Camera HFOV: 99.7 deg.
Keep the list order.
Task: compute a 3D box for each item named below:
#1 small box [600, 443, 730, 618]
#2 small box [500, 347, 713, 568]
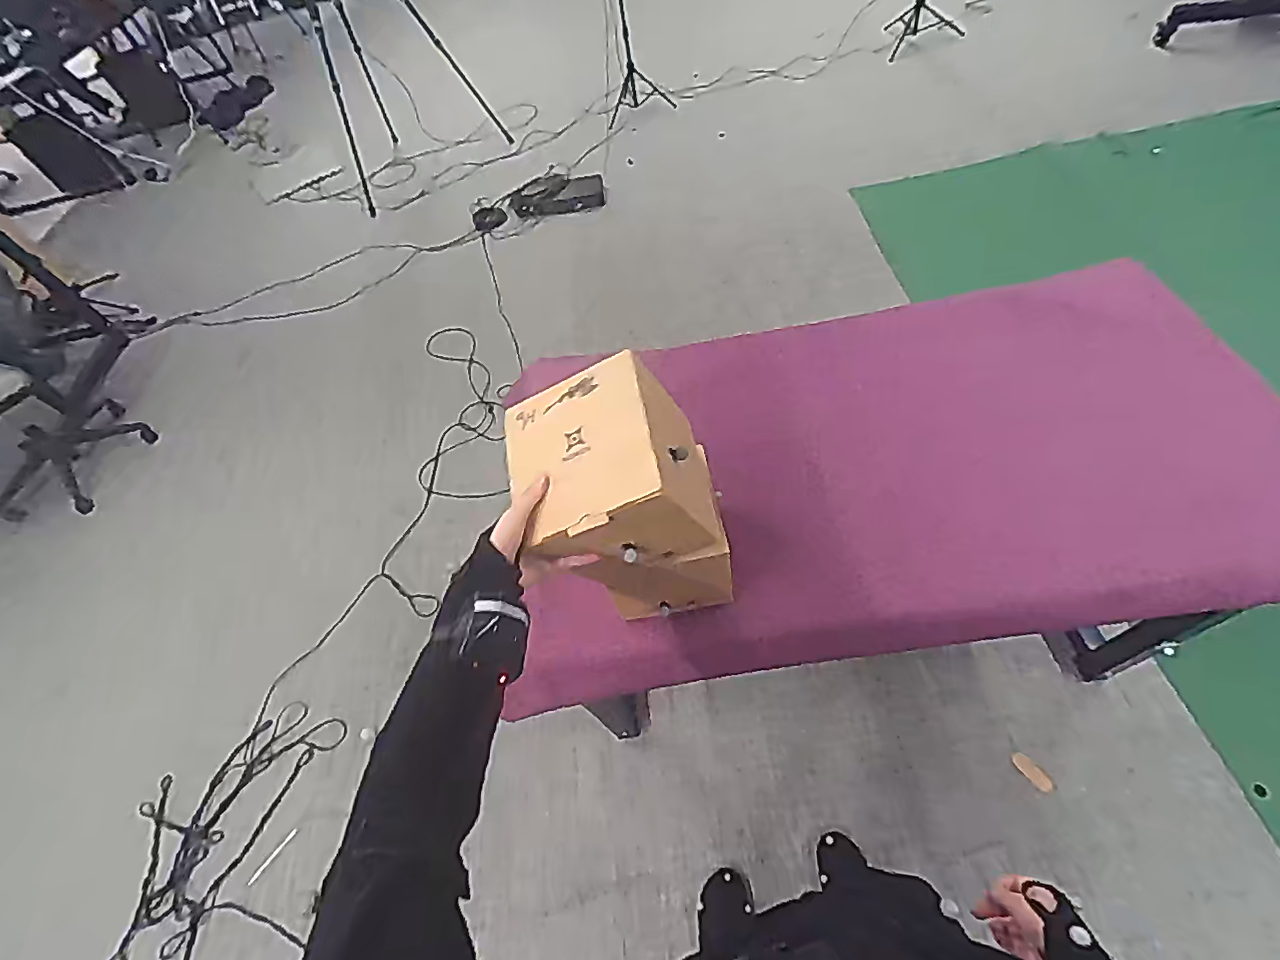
[{"bbox_3d":[0.032,0.077,0.778,0.168,0.176,0.179,-11,55,4],"label":"small box"},{"bbox_3d":[-0.034,-0.009,0.611,0.168,0.176,0.179,-23,61,19],"label":"small box"}]
